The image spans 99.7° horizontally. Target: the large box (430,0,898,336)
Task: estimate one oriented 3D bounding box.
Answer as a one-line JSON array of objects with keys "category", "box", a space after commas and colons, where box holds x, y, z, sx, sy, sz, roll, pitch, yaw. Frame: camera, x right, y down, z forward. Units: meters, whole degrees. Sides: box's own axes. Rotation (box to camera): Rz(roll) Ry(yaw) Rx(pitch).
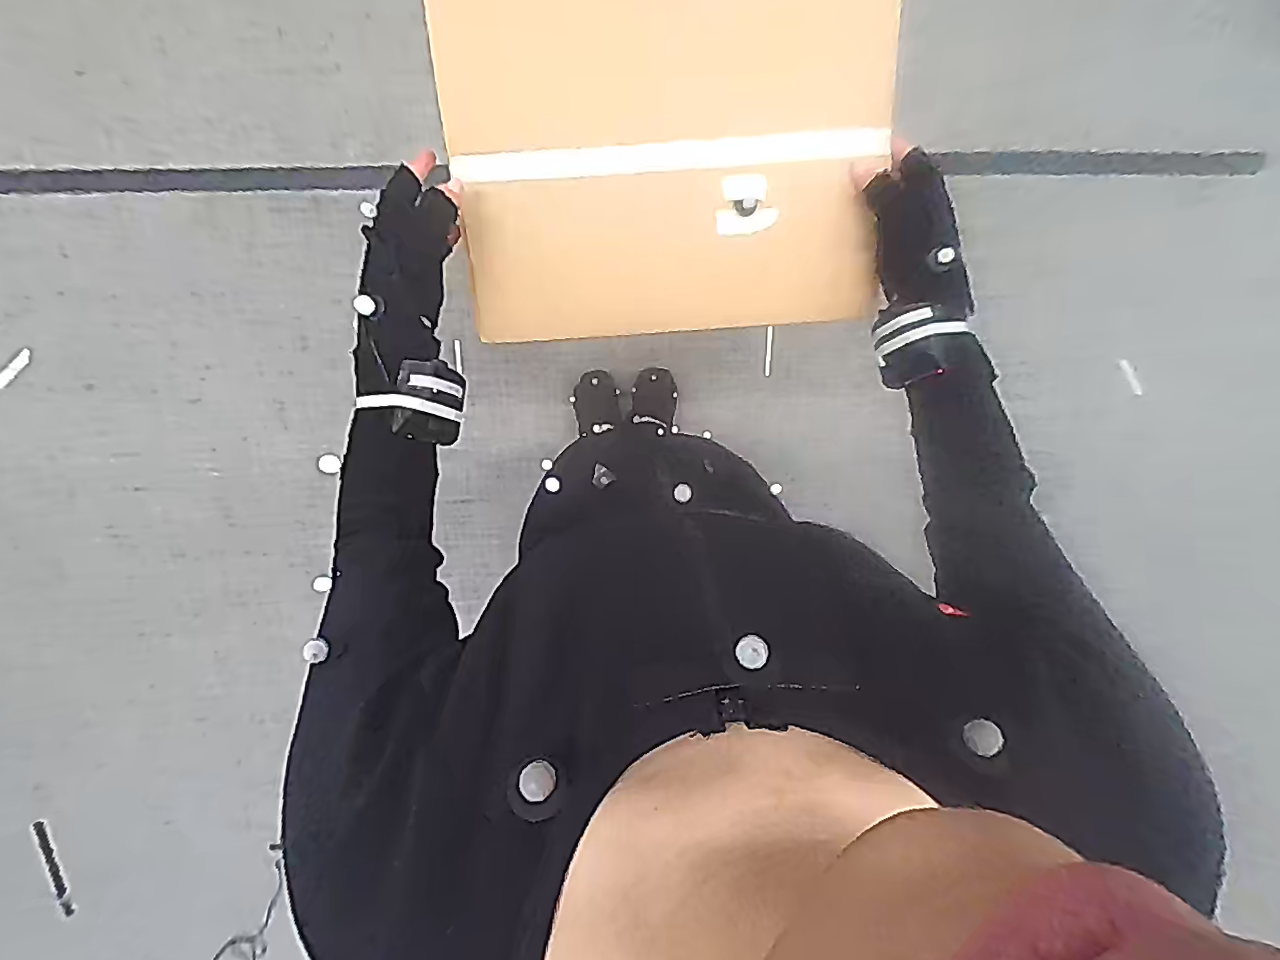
[{"category": "large box", "box": [0.022, -0.356, 0.632, 0.408, 0.320, 0.320, -5, 111, -2]}]
